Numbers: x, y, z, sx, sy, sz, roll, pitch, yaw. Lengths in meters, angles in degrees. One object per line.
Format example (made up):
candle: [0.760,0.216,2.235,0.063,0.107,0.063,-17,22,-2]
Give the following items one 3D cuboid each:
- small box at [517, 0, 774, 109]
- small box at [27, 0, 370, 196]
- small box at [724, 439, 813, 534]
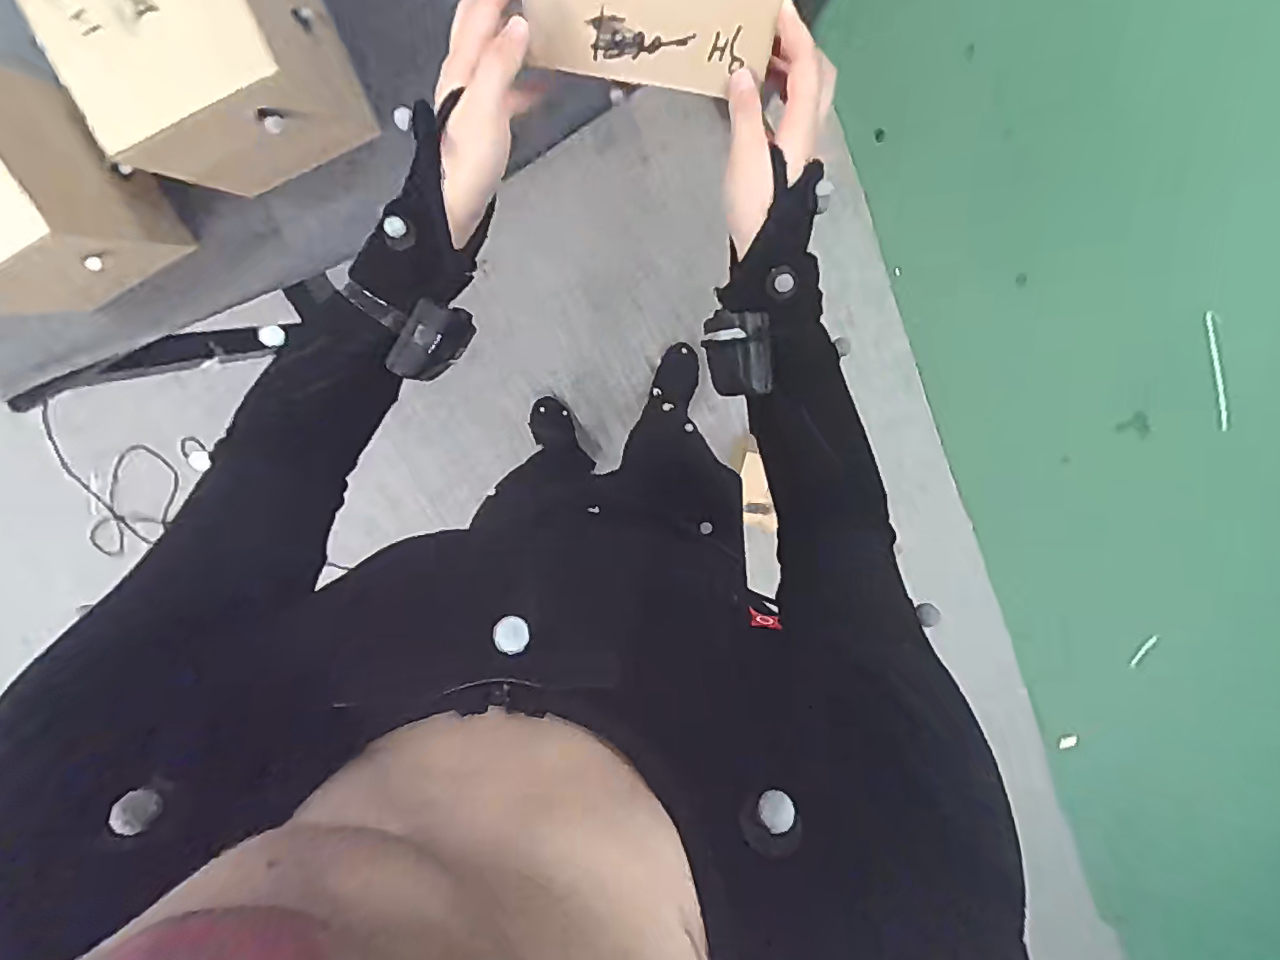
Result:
small box: [0.010,-0.384,0.382,0.168,0.176,0.179,7,129,-2]
small box: [-0.387,-0.394,0.505,0.179,0.176,0.168,-18,105,9]
small box: [0.320,0.013,1.388,0.168,0.176,0.179,13,108,-2]
